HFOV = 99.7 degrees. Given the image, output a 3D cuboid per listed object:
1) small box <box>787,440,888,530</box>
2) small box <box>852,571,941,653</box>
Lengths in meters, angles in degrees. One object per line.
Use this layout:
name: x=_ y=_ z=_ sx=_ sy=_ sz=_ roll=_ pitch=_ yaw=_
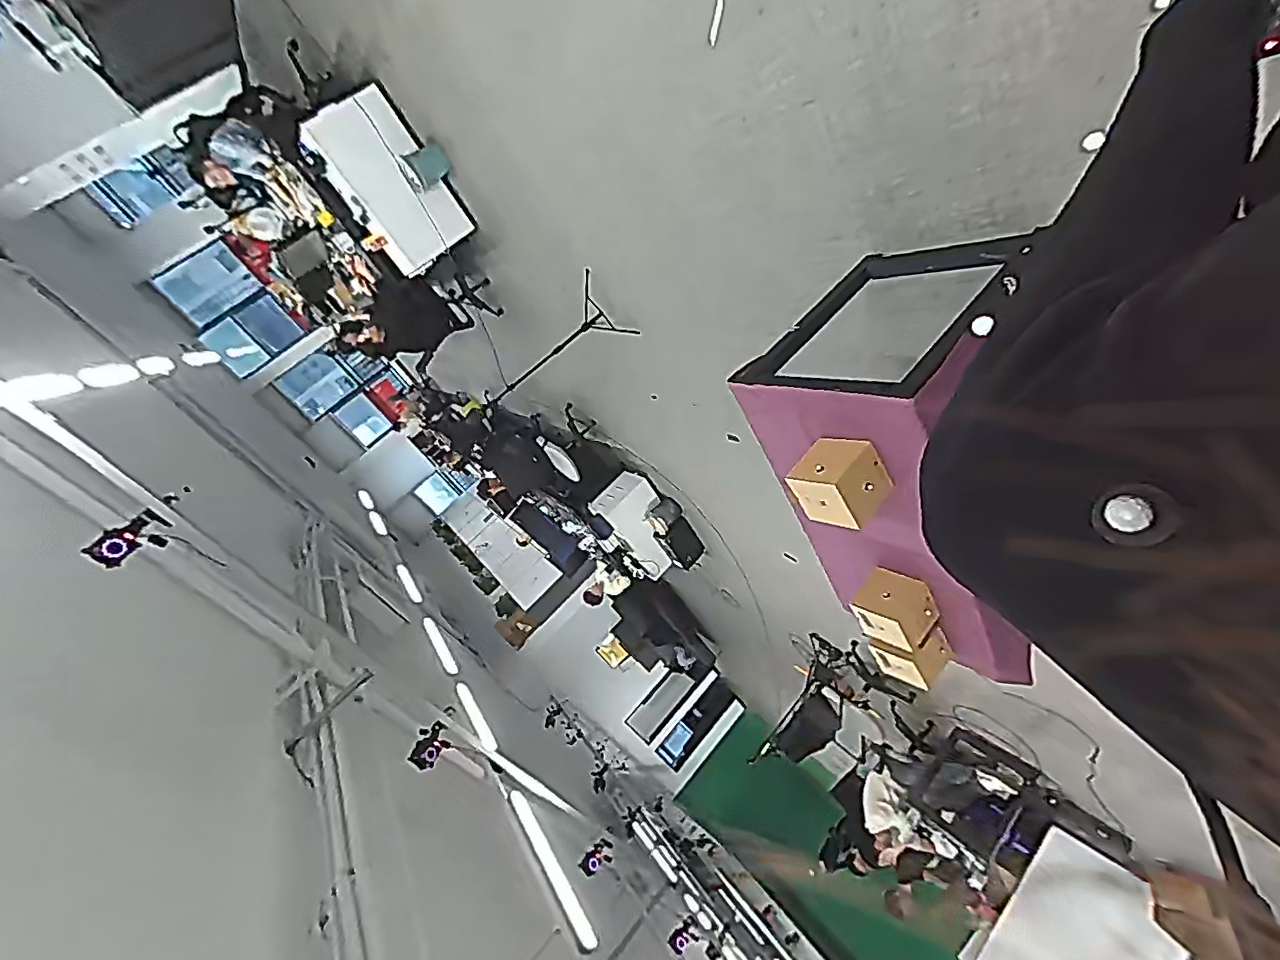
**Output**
small box: x=0.540 y=0.007 z=1.460 sx=0.168 sy=0.176 sz=0.179 roll=53 pitch=163 yaw=-24
small box: x=0.831 y=0.419 z=1.751 sx=0.168 sy=0.176 sz=0.179 roll=53 pitch=161 yaw=-26
